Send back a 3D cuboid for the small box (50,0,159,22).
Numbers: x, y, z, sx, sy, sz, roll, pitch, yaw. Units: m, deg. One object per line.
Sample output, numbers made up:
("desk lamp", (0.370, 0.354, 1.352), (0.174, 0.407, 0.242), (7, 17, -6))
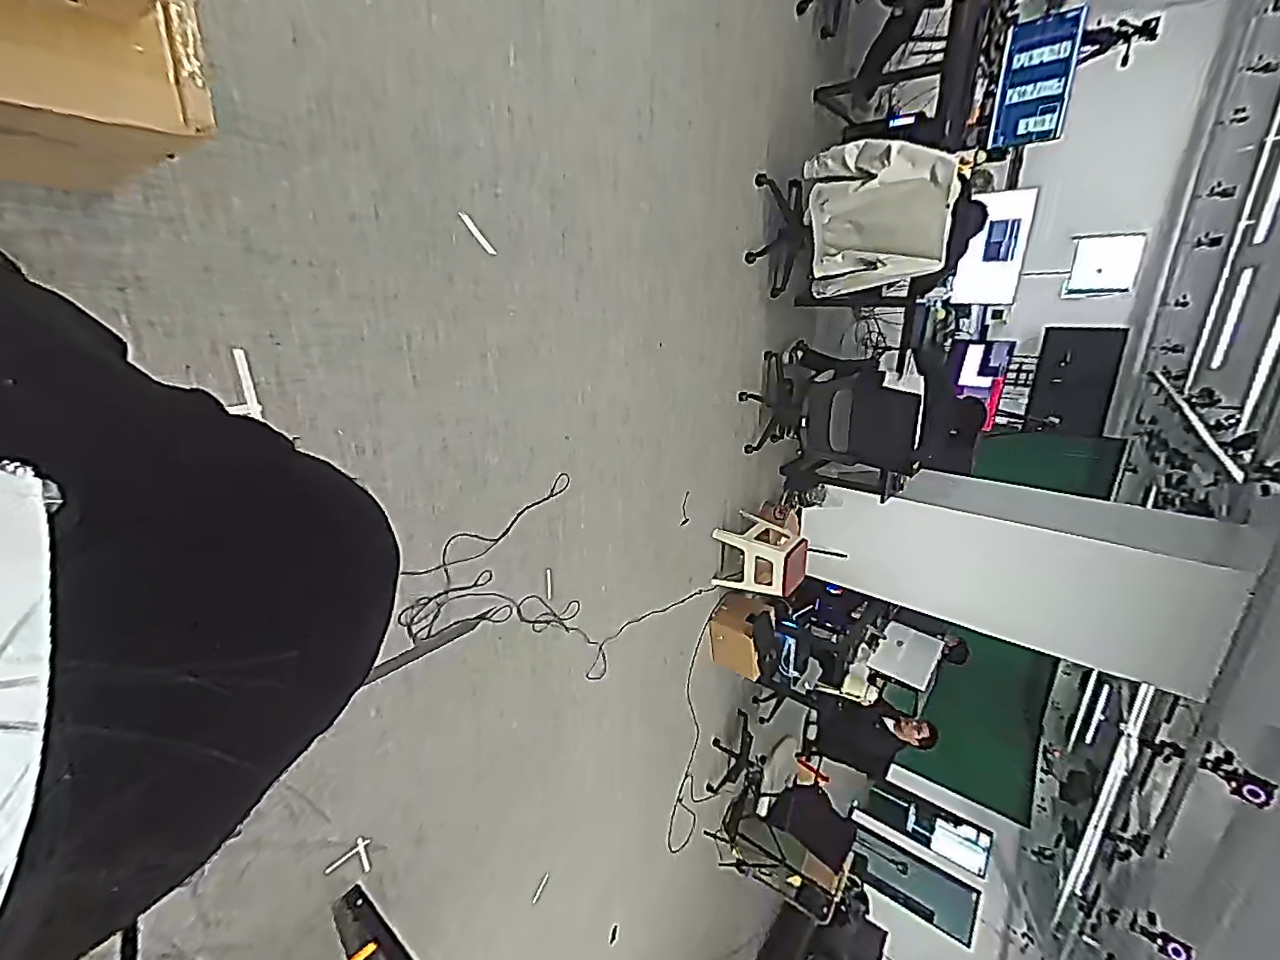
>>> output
("small box", (-0.554, -0.561, 0.480), (0.168, 0.176, 0.179), (-20, 119, -46))
